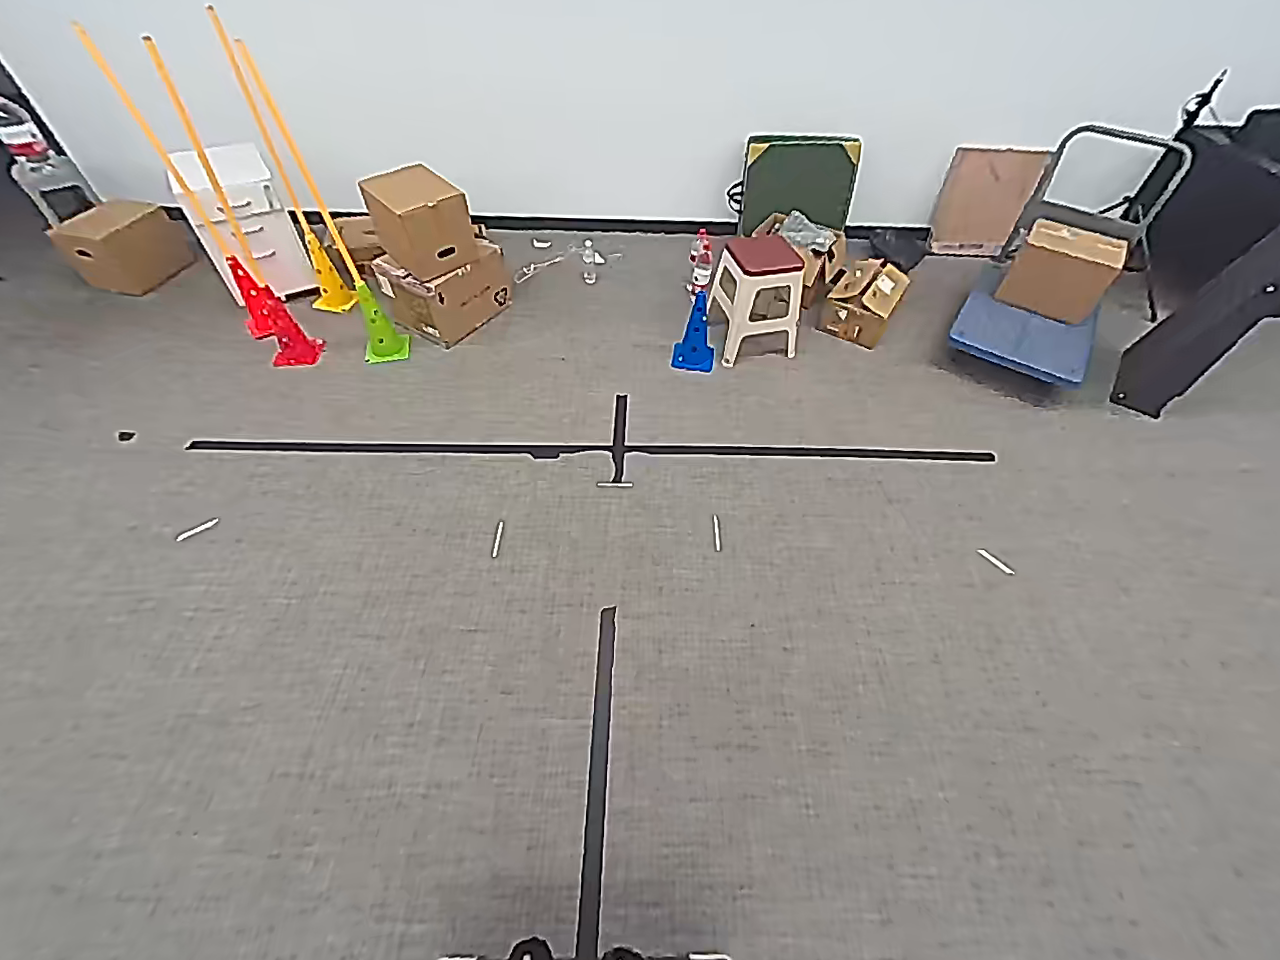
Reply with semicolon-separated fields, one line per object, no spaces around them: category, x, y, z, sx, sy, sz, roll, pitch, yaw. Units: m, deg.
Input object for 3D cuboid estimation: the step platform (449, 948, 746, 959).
step platform;-0.092;1.140;1.091;0.684;0.204;0.286;1;50;-3
